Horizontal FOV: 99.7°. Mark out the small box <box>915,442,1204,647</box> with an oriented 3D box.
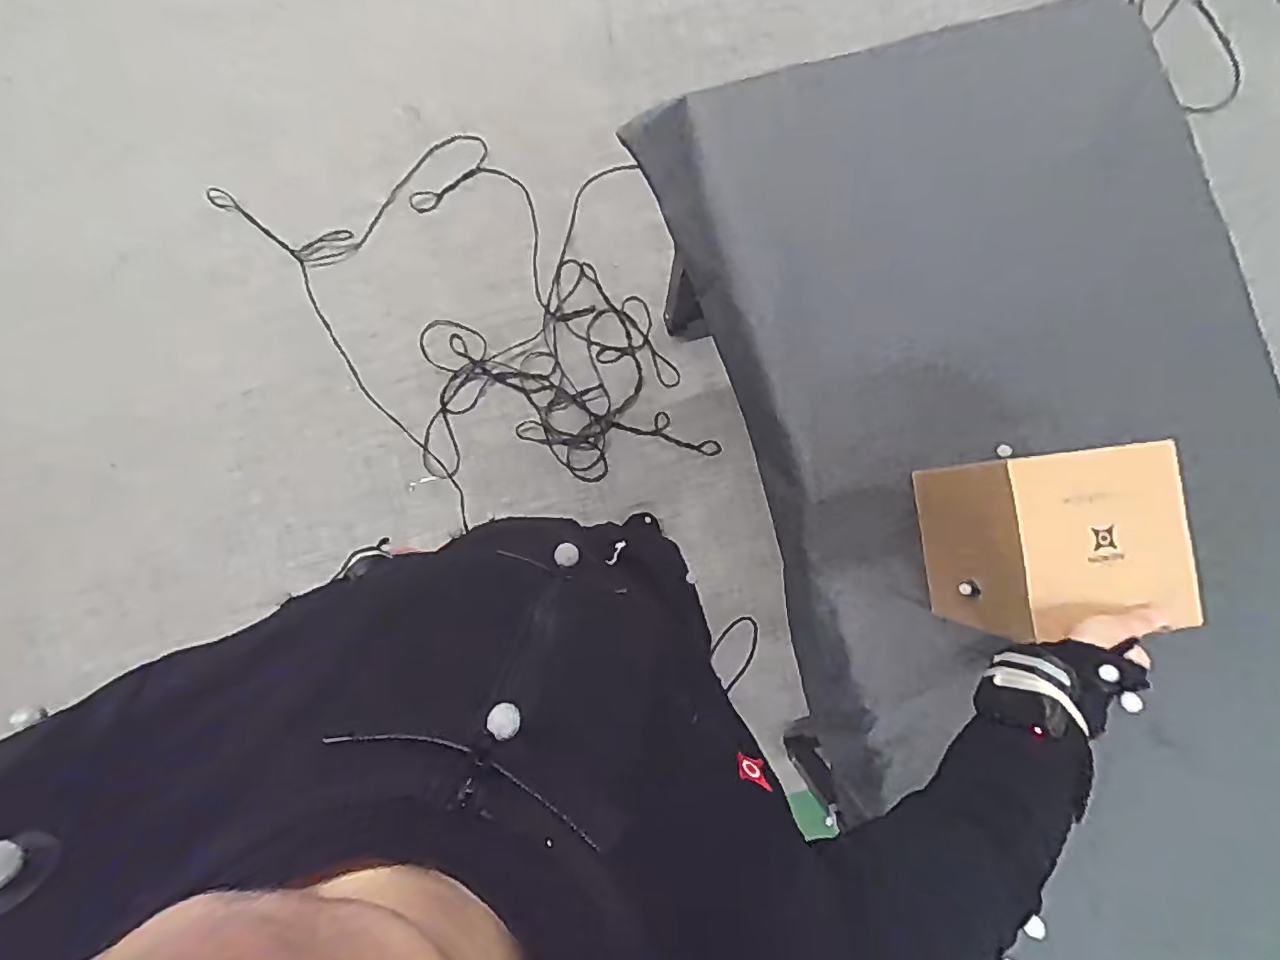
[{"bbox_3d":[0.428,0.063,0.582,0.168,0.176,0.179,-8,86,-3],"label":"small box"}]
